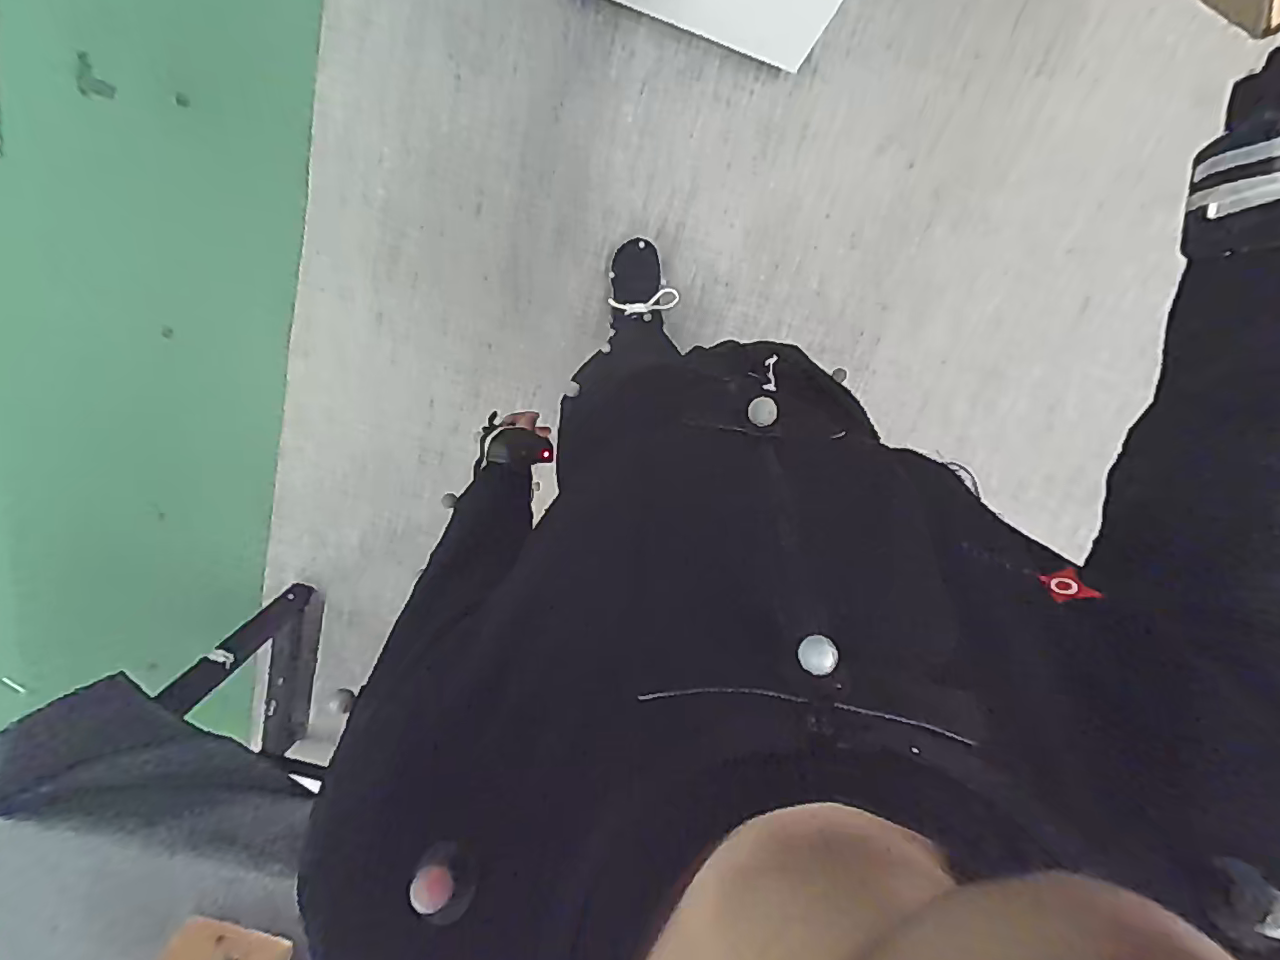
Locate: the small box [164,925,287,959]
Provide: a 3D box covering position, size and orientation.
[{"bbox_3d":[-0.658,0.816,0.794,0.168,0.176,0.179,22,106,-6],"label":"small box"}]
